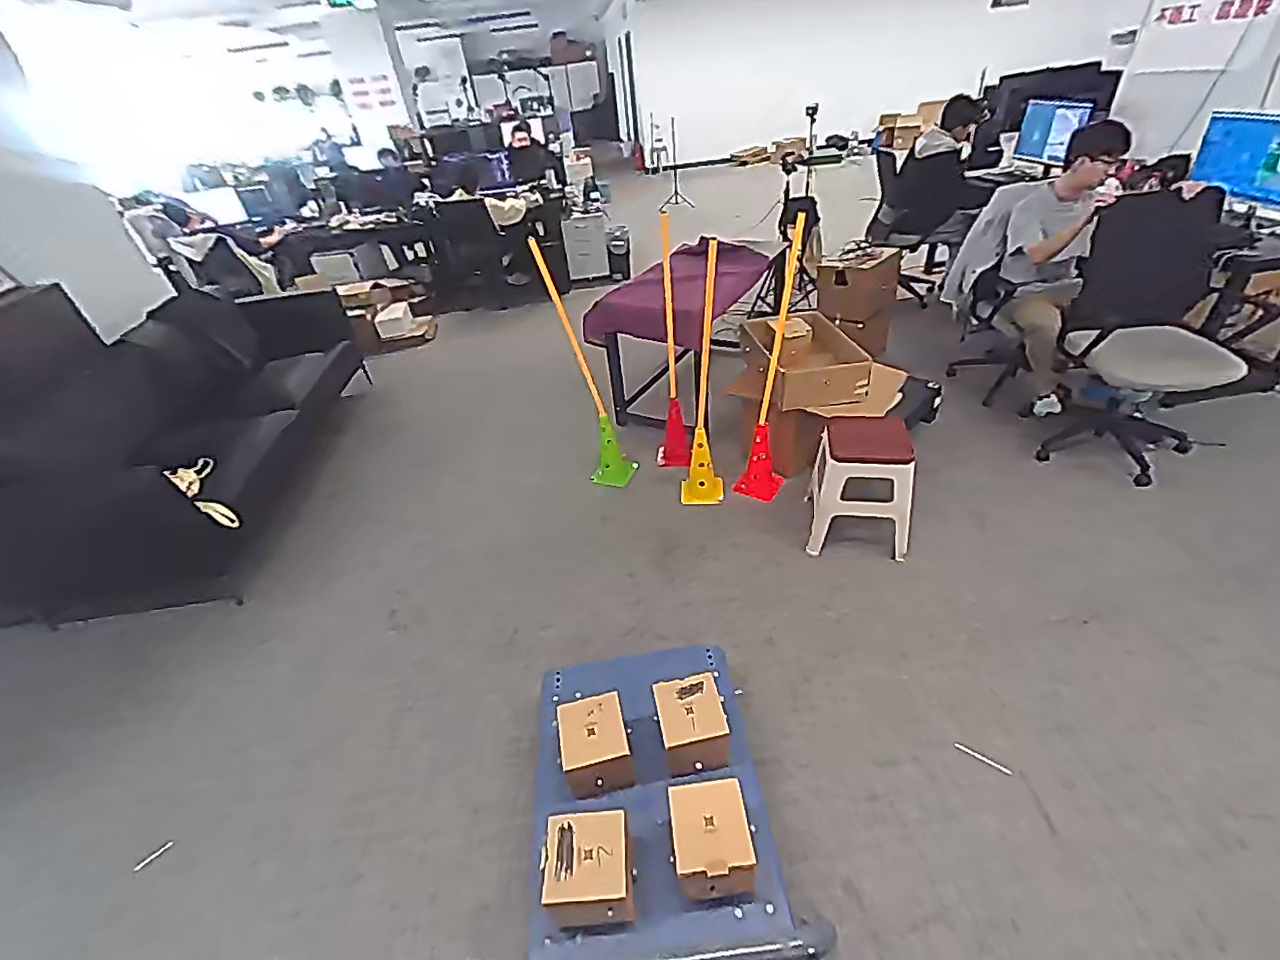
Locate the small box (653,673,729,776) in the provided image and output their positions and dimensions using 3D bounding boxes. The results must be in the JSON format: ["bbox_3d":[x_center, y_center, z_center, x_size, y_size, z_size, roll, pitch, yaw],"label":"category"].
[{"bbox_3d":[0.134,0.648,1.436,0.168,0.176,0.179,-11,38,-3],"label":"small box"}]

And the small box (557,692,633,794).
[{"bbox_3d":[-0.117,0.694,1.419,0.168,0.176,0.179,-11,38,-6],"label":"small box"}]

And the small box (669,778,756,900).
[{"bbox_3d":[0.158,0.811,1.223,0.168,0.176,0.179,-8,38,0],"label":"small box"}]
